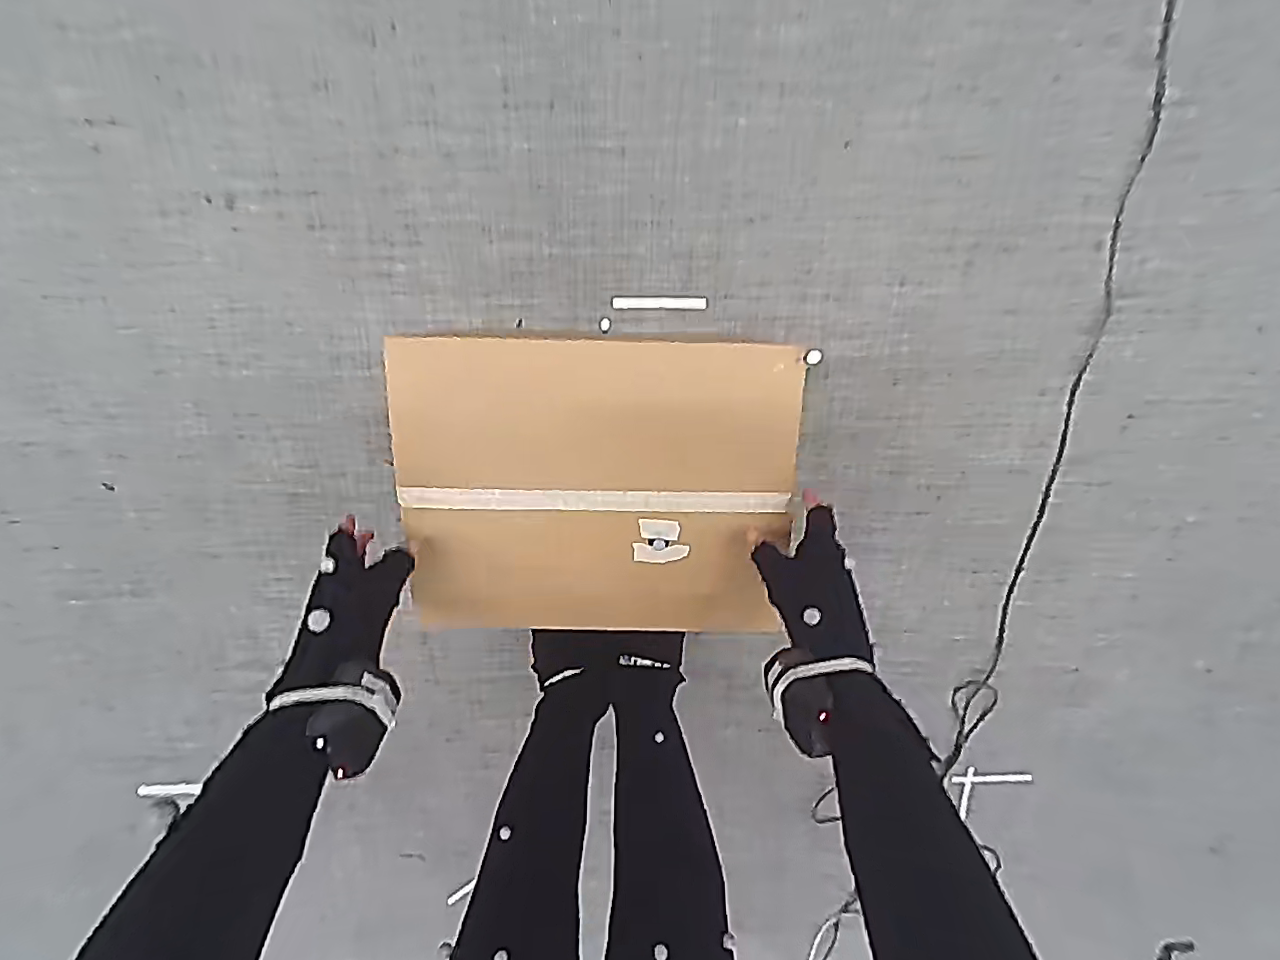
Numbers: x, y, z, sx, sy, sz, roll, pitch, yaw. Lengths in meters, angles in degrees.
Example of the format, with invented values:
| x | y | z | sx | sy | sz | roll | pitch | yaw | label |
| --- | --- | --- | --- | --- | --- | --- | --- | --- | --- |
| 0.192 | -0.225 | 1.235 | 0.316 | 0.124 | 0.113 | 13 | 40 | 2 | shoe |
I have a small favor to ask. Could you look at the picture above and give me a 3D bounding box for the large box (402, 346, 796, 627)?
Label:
| x | y | z | sx | sy | sz | roll | pitch | yaw | label |
| --- | --- | --- | --- | --- | --- | --- | --- | --- | --- |
| -0.045 | -0.019 | 0.722 | 0.408 | 0.320 | 0.320 | 1 | 106 | -1 | large box |
